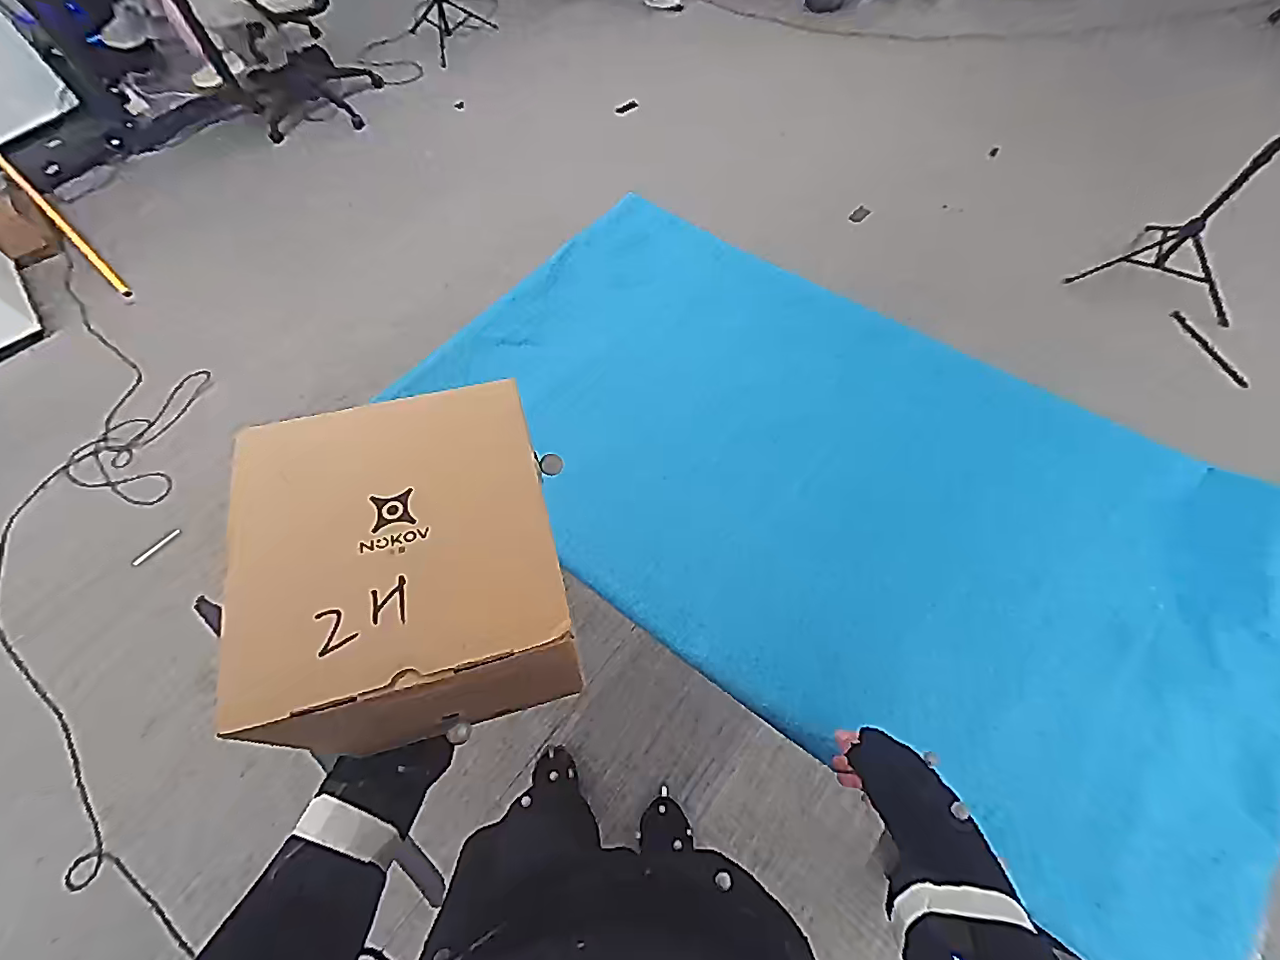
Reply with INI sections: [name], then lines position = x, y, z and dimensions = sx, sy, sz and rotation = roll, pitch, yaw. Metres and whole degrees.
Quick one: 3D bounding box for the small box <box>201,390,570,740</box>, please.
[small box]
position = -0.144, 0.066, 0.369
dimensions = 0.168, 0.176, 0.179
rotation = -10, 64, -7
